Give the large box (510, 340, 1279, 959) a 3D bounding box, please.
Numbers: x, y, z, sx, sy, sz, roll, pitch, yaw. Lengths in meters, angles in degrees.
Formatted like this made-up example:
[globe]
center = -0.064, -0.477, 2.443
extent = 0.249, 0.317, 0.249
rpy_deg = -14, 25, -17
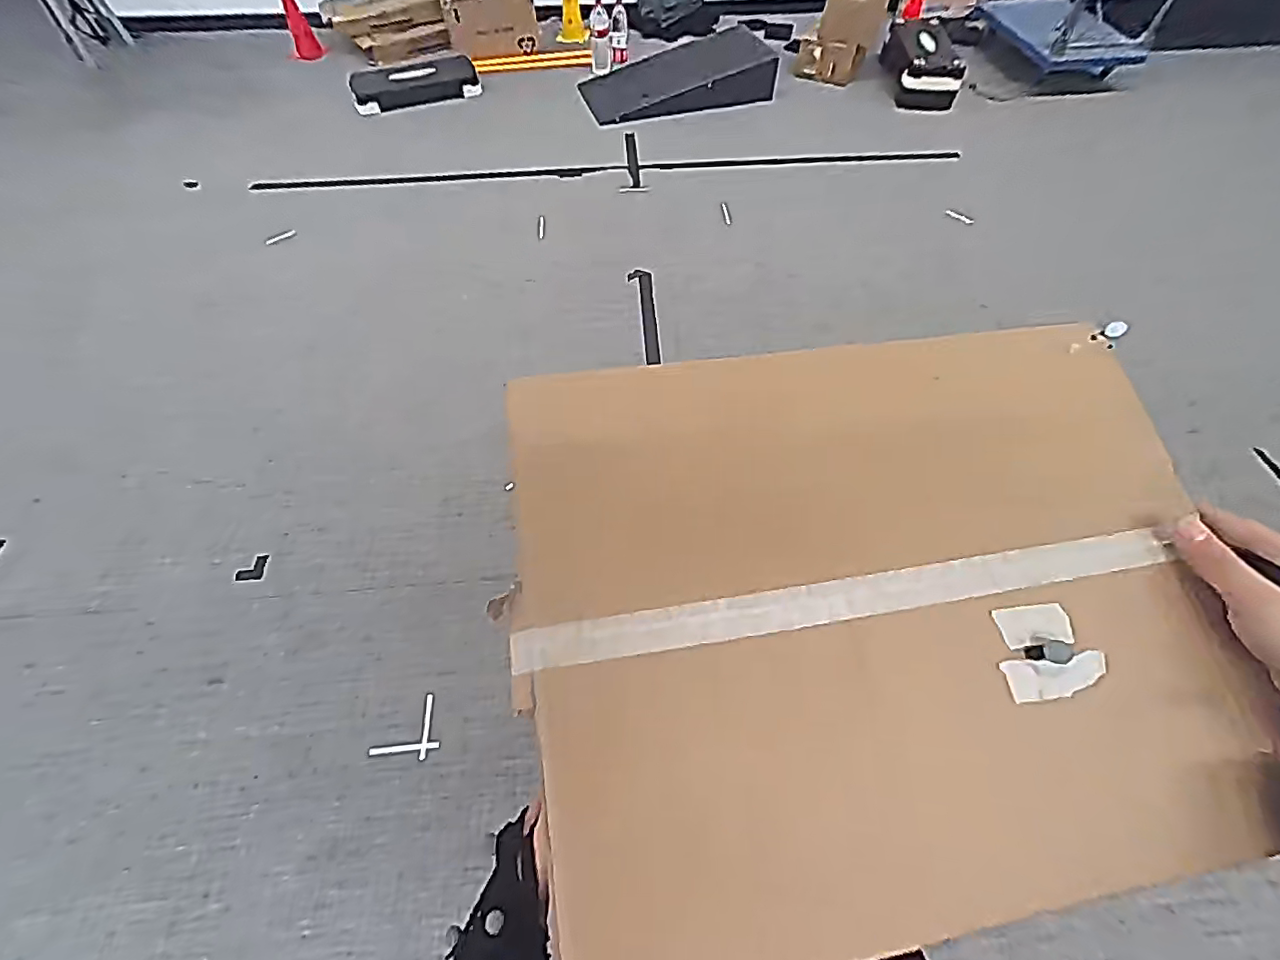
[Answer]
[large box]
center = 0.126, 0.119, 0.450
extent = 0.408, 0.320, 0.320
rpy_deg = -7, 71, -8
